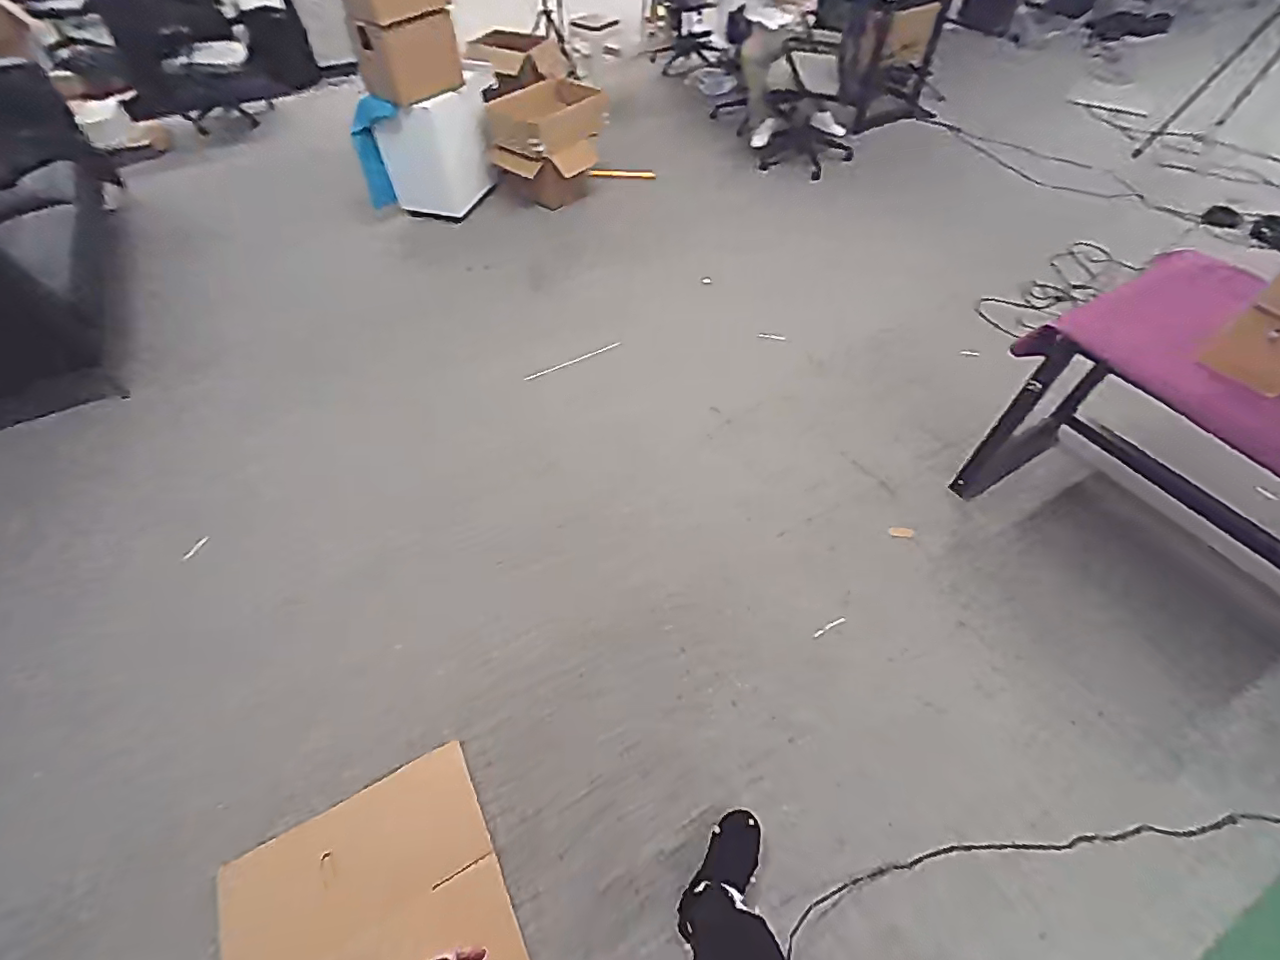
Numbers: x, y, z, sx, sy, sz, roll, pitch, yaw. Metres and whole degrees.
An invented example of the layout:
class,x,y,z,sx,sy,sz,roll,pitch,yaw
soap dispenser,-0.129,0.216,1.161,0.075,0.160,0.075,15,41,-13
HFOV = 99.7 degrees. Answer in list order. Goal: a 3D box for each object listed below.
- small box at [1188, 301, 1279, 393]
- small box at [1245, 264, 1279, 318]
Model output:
class,x,y,z,sx,sy,sz,roll,pitch,yaw
small box,1.441,-0.320,1.233,0.168,0.176,0.179,-27,57,-18
small box,1.427,-0.411,1.096,0.168,0.176,0.179,-26,56,-18
